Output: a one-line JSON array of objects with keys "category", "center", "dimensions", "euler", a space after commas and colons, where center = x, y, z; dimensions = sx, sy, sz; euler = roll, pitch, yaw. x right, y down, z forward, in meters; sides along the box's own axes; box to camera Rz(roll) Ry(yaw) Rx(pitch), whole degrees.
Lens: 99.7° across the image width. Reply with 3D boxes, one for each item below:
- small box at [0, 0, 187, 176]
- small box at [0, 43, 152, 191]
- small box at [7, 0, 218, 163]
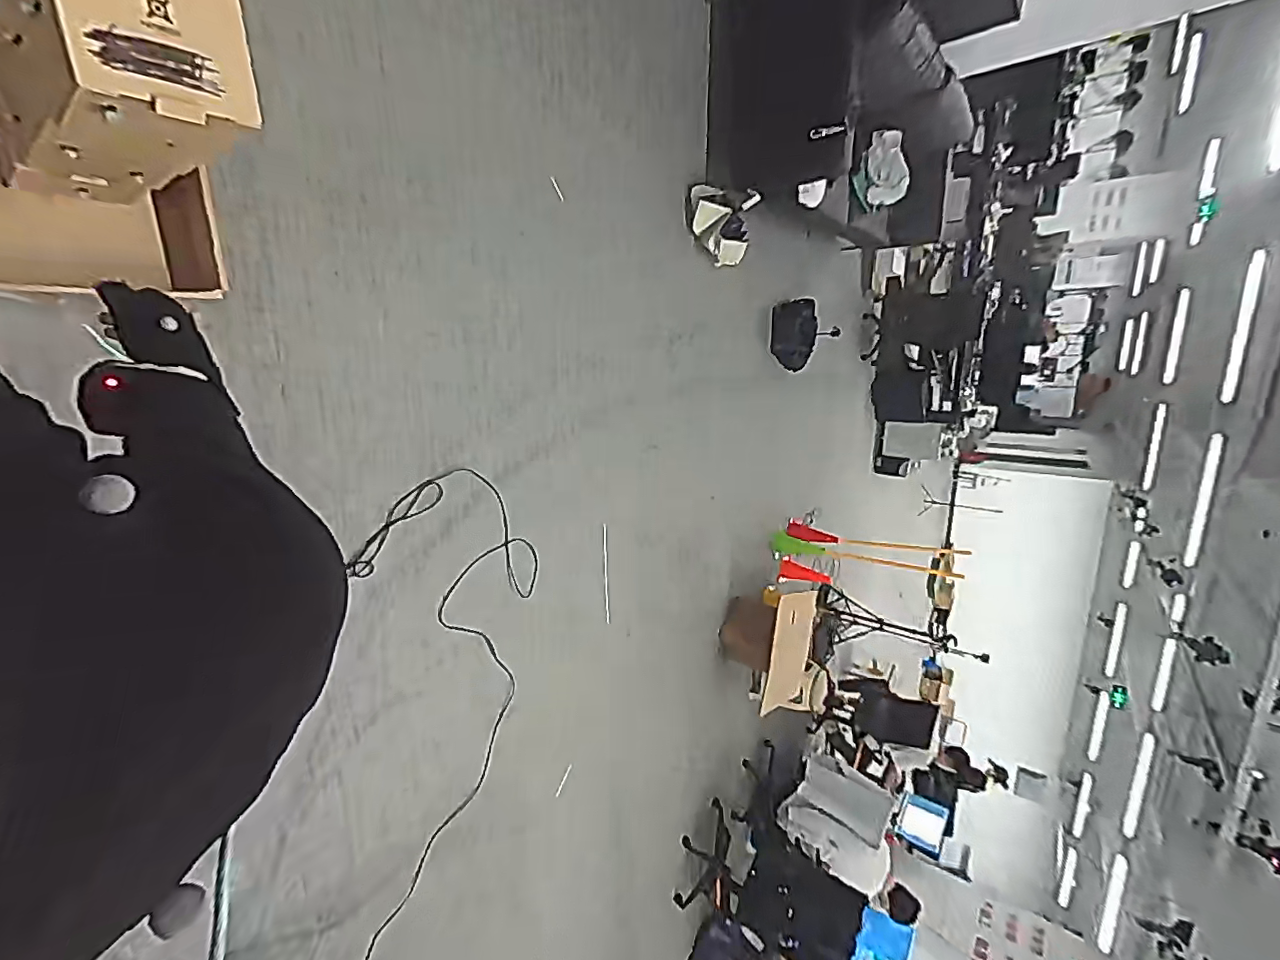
[{"category": "small box", "center": [-0.815, -0.578, 0.811], "dimensions": [0.168, 0.176, 0.179], "euler": [-18, 112, -49]}, {"category": "small box", "center": [-0.966, -0.601, 0.911], "dimensions": [0.168, 0.176, 0.179], "euler": [-23, 116, -46]}, {"category": "small box", "center": [-0.701, -0.550, 0.723], "dimensions": [0.168, 0.176, 0.179], "euler": [-17, 112, -50]}]
